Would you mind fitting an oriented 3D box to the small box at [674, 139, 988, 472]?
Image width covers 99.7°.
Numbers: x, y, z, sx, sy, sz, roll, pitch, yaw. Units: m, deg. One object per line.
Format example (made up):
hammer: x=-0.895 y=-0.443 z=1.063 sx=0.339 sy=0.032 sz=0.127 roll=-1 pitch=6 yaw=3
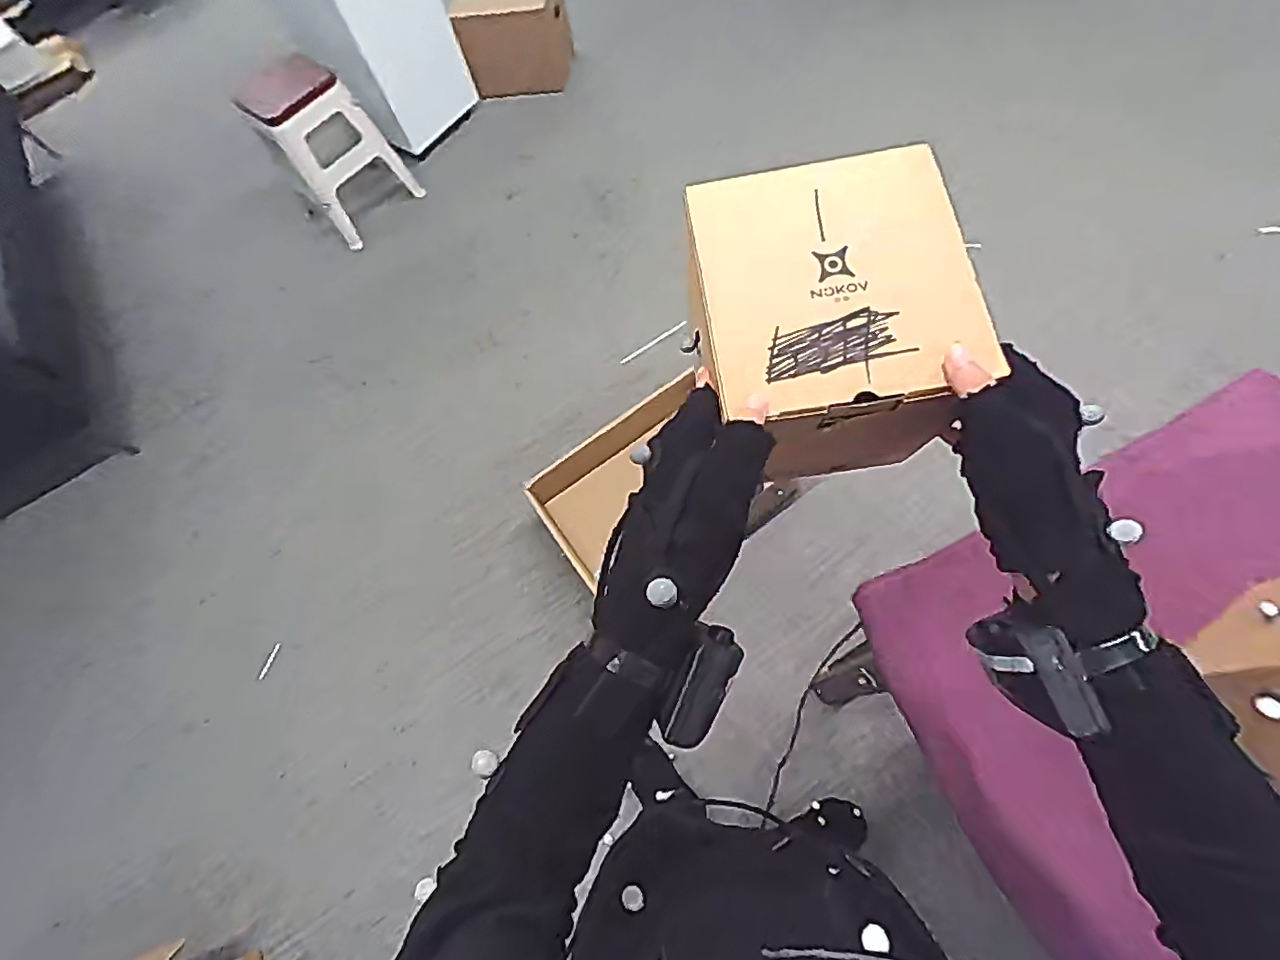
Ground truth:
small box: x=0.122 y=-0.112 z=0.418 sx=0.168 sy=0.176 sz=0.179 roll=-9 pitch=75 yaw=3
